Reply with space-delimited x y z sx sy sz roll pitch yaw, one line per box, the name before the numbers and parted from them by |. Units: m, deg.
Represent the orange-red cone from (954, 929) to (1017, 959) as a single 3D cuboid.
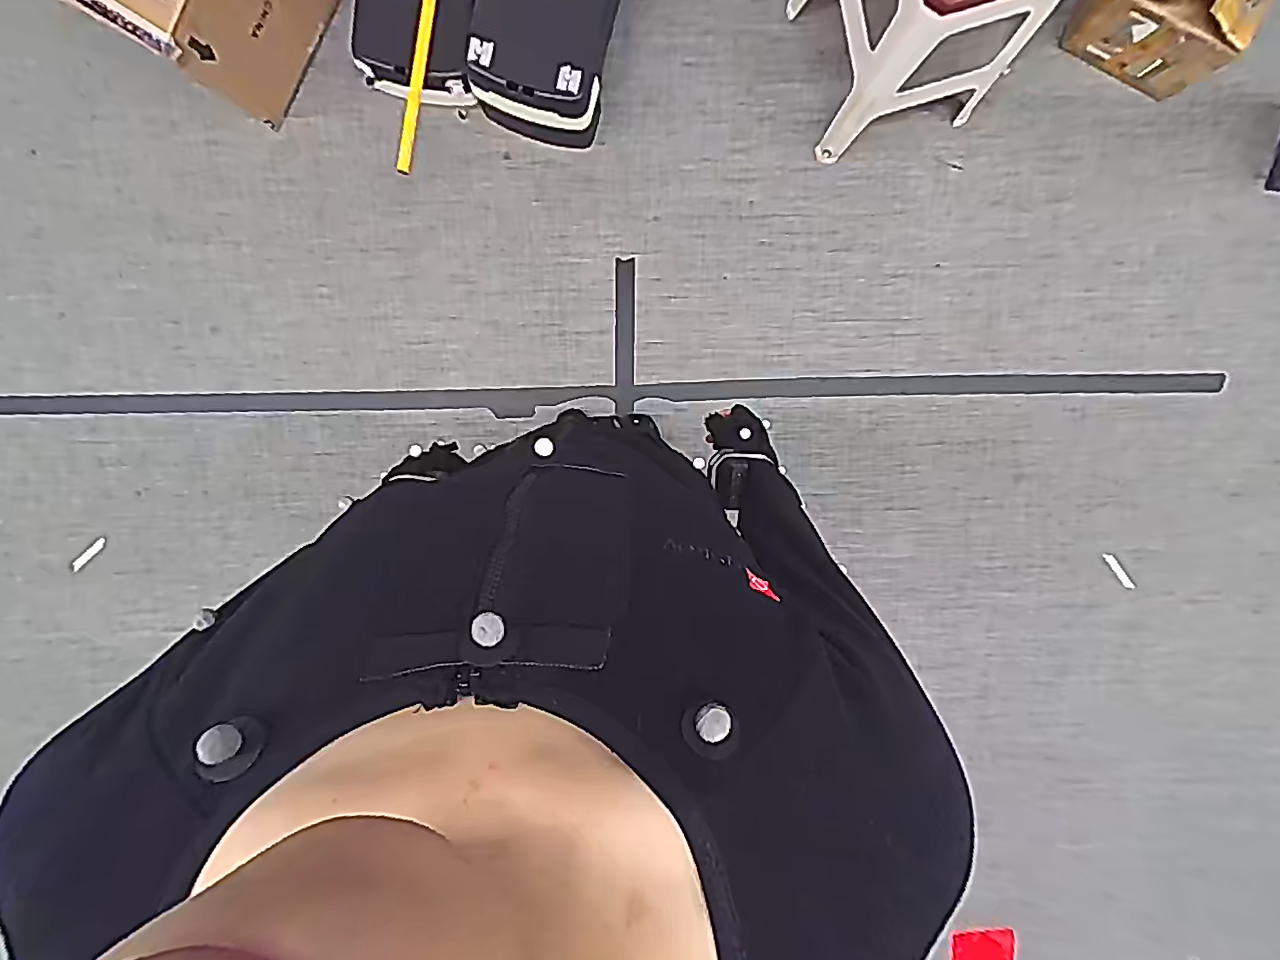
orange-red cone | 1.088 1.526 1.531 0.198 0.360 0.199 -5 98 0
